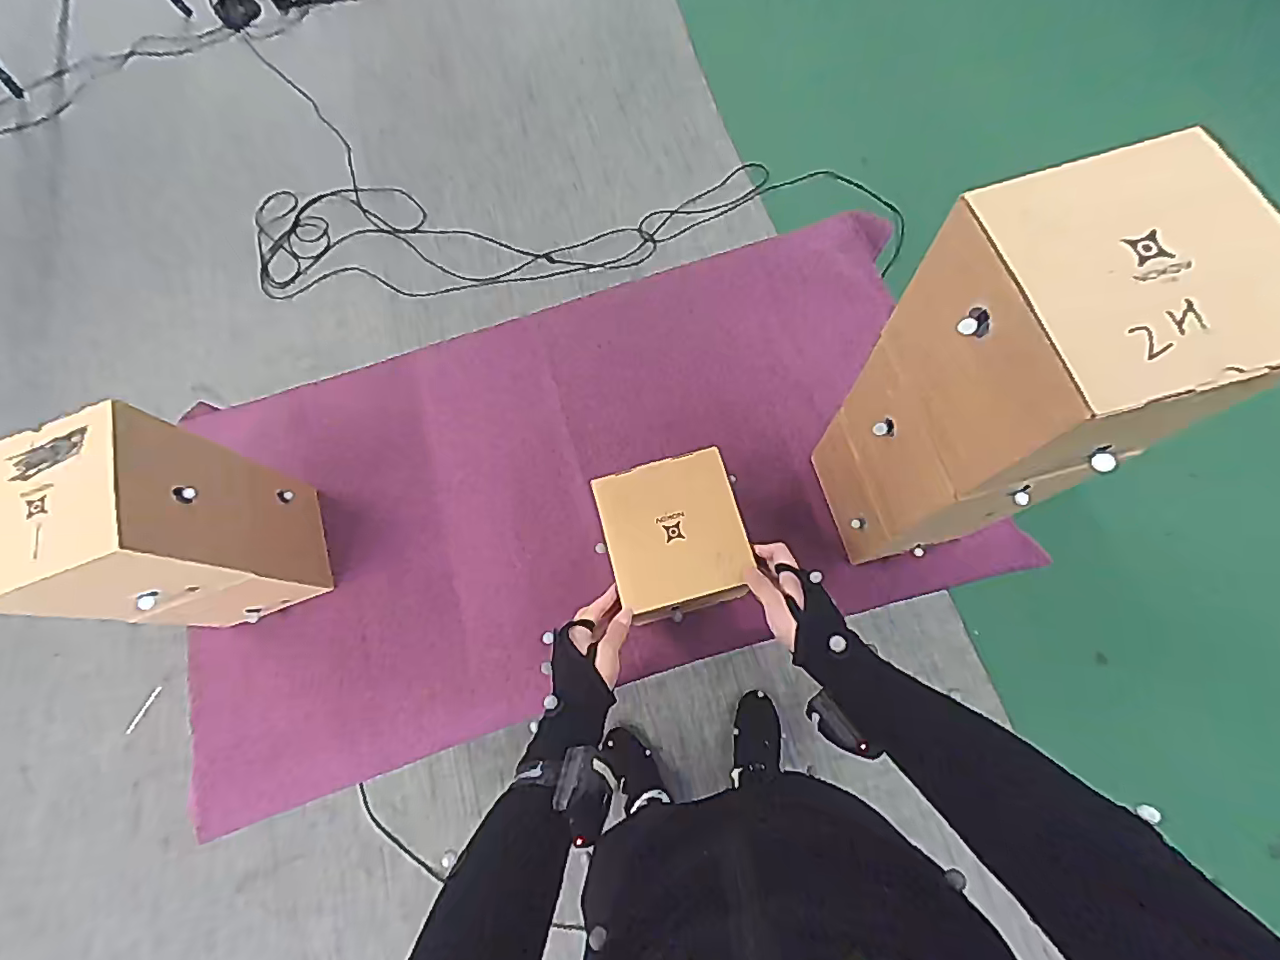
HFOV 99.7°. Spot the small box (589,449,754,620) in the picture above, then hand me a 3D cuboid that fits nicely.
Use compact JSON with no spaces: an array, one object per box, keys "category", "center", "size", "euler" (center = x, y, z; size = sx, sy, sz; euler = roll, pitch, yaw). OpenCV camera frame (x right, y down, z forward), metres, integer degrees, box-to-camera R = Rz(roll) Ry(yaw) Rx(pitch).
[{"category":"small box","center":[0.043,0.084,0.723],"size":[0.168,0.176,0.179],"euler":[-16,70,0]}]

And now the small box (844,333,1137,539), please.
[{"category":"small box","center":[0.335,-0.054,0.566],"size":[0.168,0.176,0.179],"euler":[-15,70,2]}]

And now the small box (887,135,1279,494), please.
[{"category":"small box","center":[0.318,-0.109,0.411],"size":[0.168,0.176,0.179],"euler":[-15,72,1]}]

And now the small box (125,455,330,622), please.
[{"category":"small box","center":[-0.579,0.092,0.772],"size":[0.168,0.176,0.179],"euler":[-20,73,-1]}]

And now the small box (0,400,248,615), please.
[{"category":"small box","center":[-0.592,0.041,0.616],"size":[0.168,0.176,0.179],"euler":[-21,73,-1]}]
